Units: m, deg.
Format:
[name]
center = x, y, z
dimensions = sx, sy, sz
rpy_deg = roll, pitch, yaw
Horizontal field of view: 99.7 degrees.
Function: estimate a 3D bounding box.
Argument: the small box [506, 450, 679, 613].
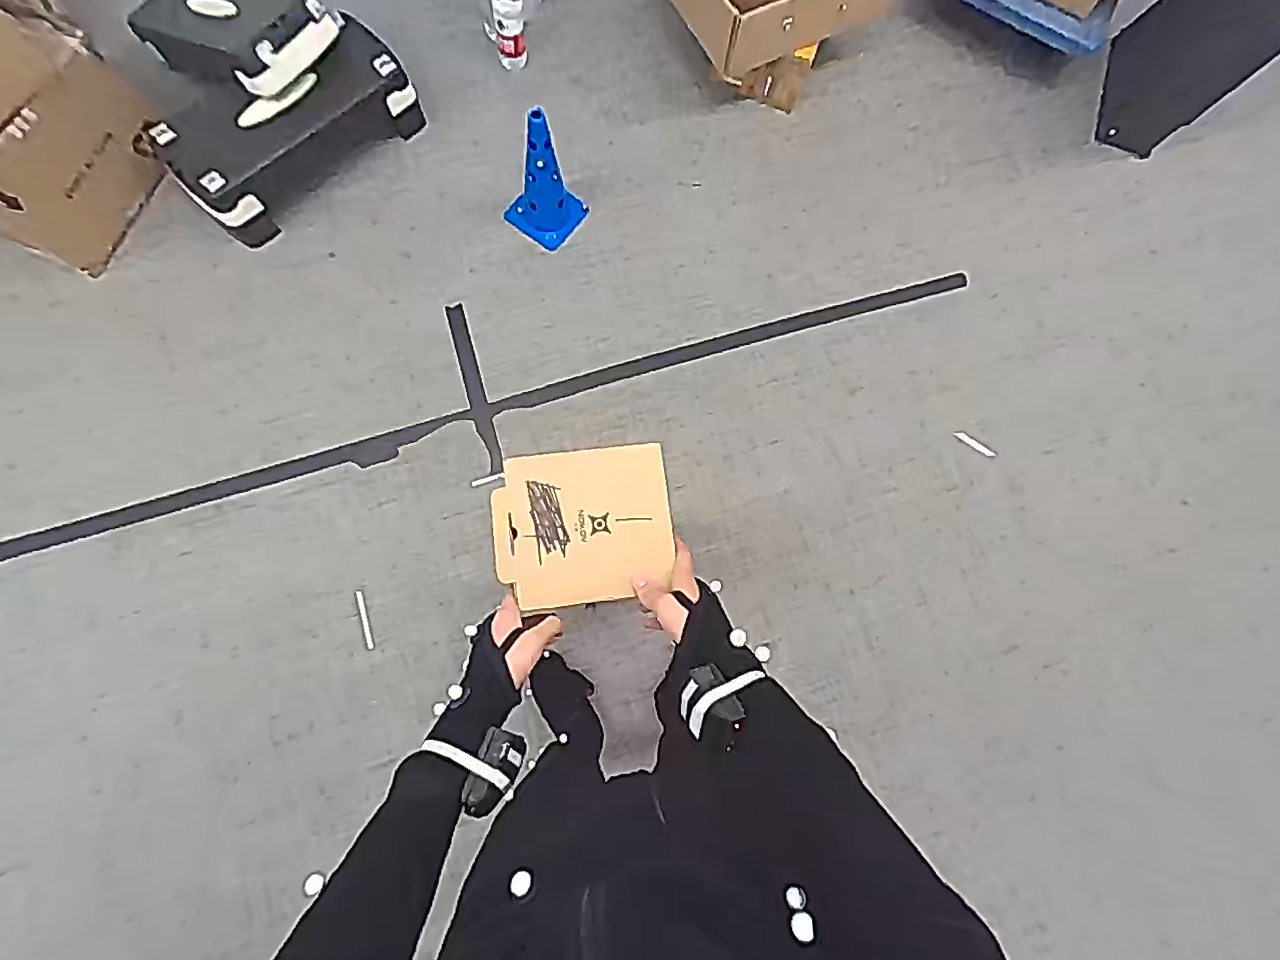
[small box]
center = -0.059, 0.068, 0.660
dimensions = 0.179, 0.176, 0.168
rpy_deg = -6, 81, -7
